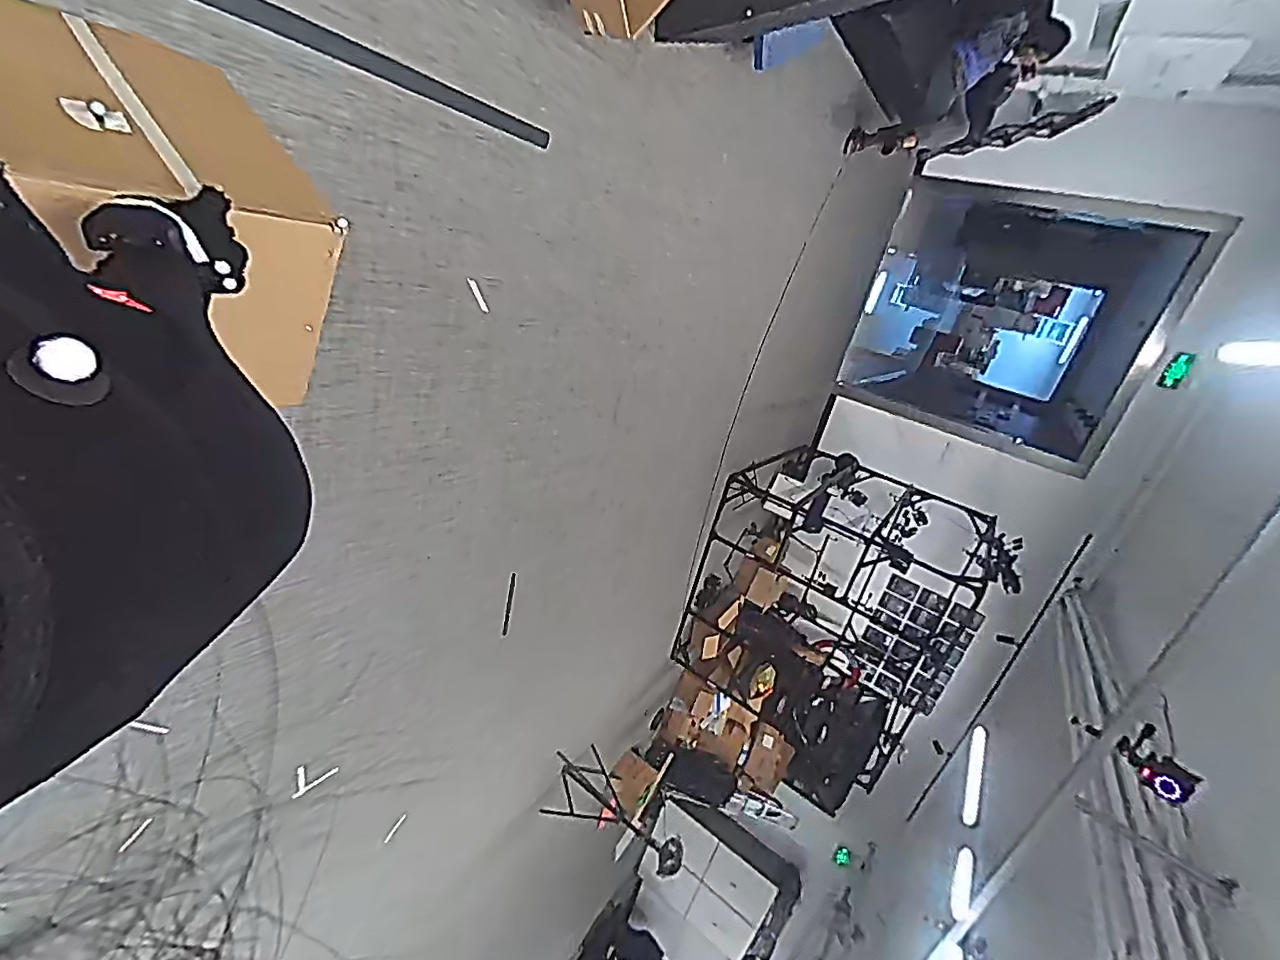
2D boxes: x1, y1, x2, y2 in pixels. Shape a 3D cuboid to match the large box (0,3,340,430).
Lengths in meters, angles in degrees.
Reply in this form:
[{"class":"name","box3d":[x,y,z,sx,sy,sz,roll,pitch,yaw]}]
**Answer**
[{"class":"large box","box3d":[-0.681,-0.329,0.713,0.320,0.408,0.320,-22,156,-52]}]
